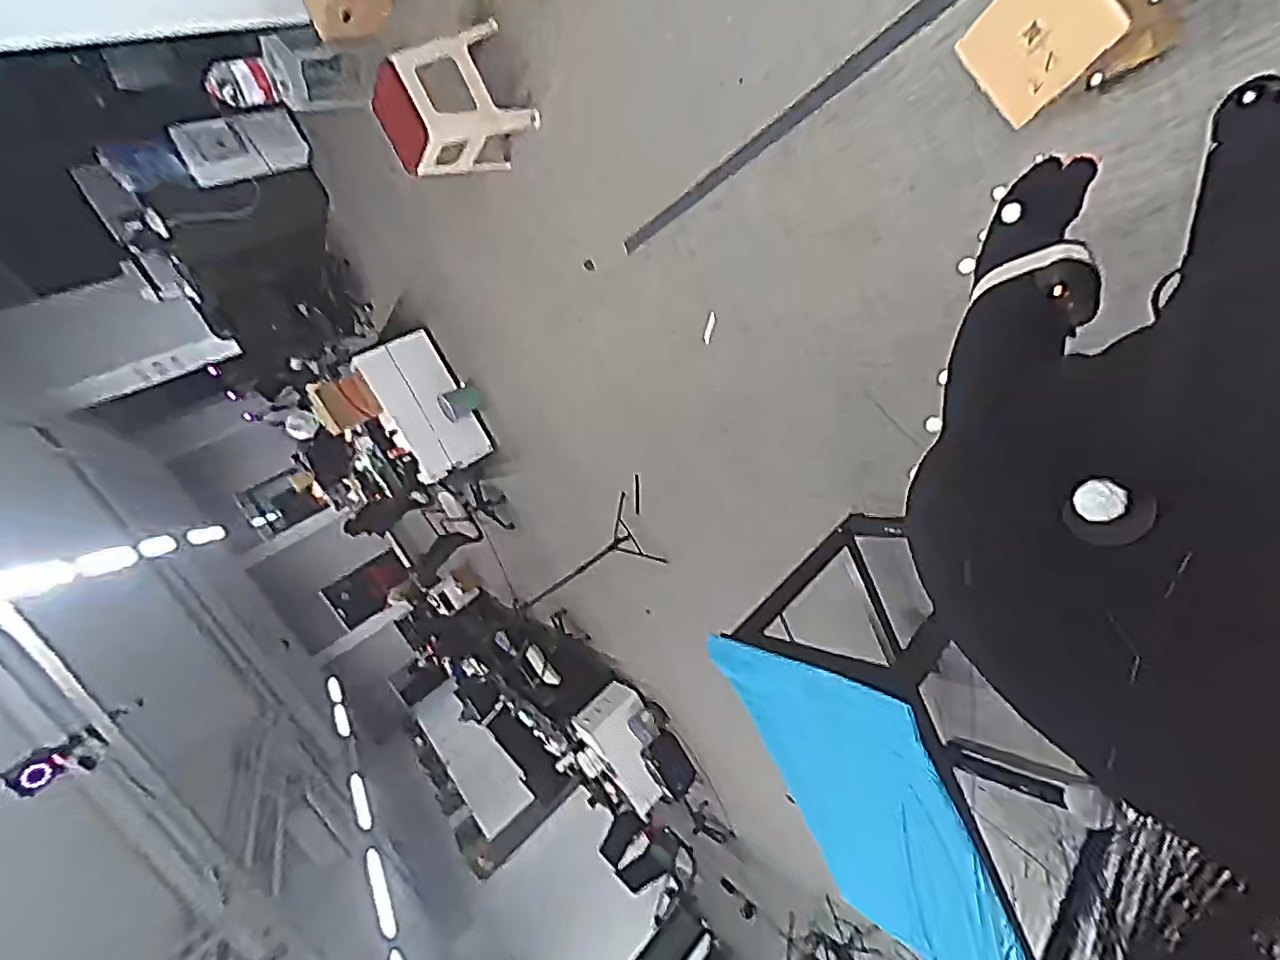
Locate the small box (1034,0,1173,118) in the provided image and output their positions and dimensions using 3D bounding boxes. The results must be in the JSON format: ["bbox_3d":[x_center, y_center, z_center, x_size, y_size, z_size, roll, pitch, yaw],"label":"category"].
[{"bbox_3d":[0.773,-0.772,0.930,0.168,0.176,0.179,-6,114,58],"label":"small box"}]

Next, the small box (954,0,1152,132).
[{"bbox_3d":[0.647,-0.699,0.851,0.179,0.176,0.168,54,152,-3],"label":"small box"}]
